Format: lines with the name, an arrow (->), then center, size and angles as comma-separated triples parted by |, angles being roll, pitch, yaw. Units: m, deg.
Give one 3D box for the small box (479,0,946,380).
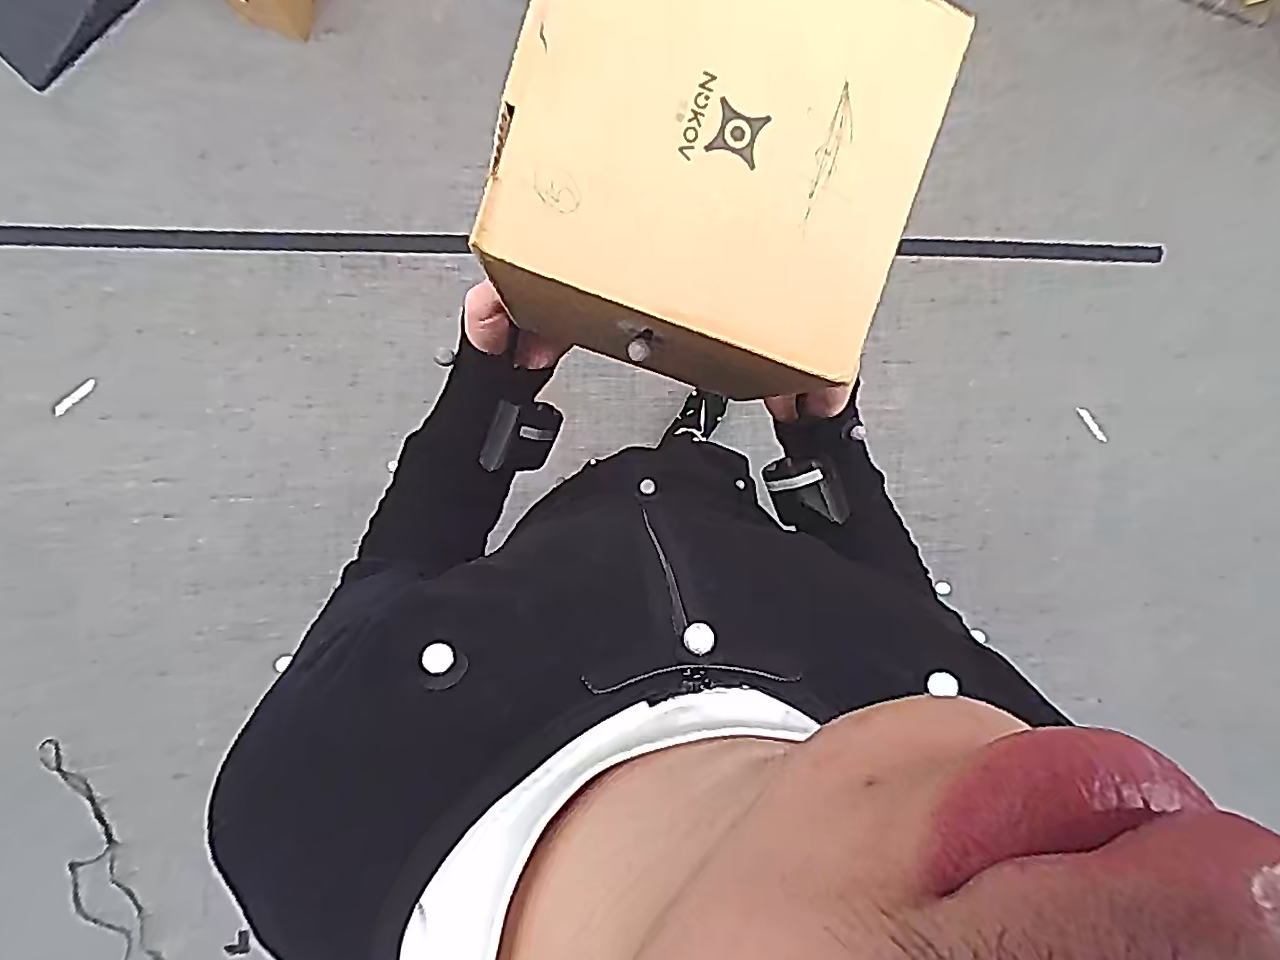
small box -> 0.026, -0.163, 0.317 | 0.179, 0.176, 0.168 | 16, 94, -9
